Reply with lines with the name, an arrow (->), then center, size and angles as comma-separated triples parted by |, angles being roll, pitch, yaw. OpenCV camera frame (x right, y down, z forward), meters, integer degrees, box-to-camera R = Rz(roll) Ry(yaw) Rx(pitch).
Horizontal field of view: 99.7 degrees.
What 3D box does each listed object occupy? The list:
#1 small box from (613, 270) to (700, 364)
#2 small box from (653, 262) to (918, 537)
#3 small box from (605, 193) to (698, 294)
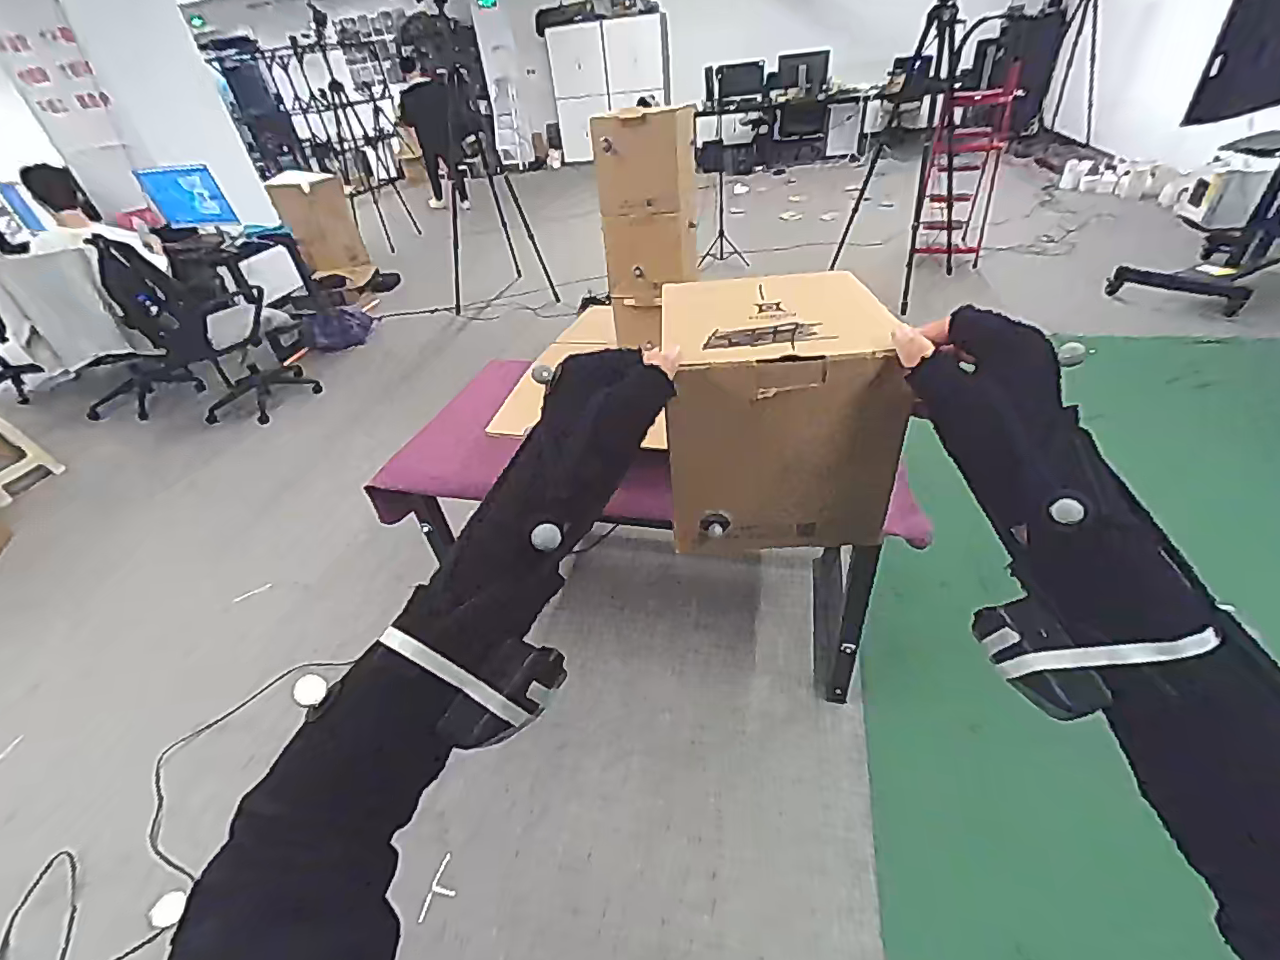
small box -> 0.046, -0.385, 1.276 | 0.168, 0.176, 0.179 | 6, 39, 16
small box -> 0.102, -0.064, 0.457 | 0.168, 0.176, 0.179 | -5, 38, 1
small box -> 0.032, -0.515, 1.178 | 0.168, 0.176, 0.179 | 5, 39, 14
